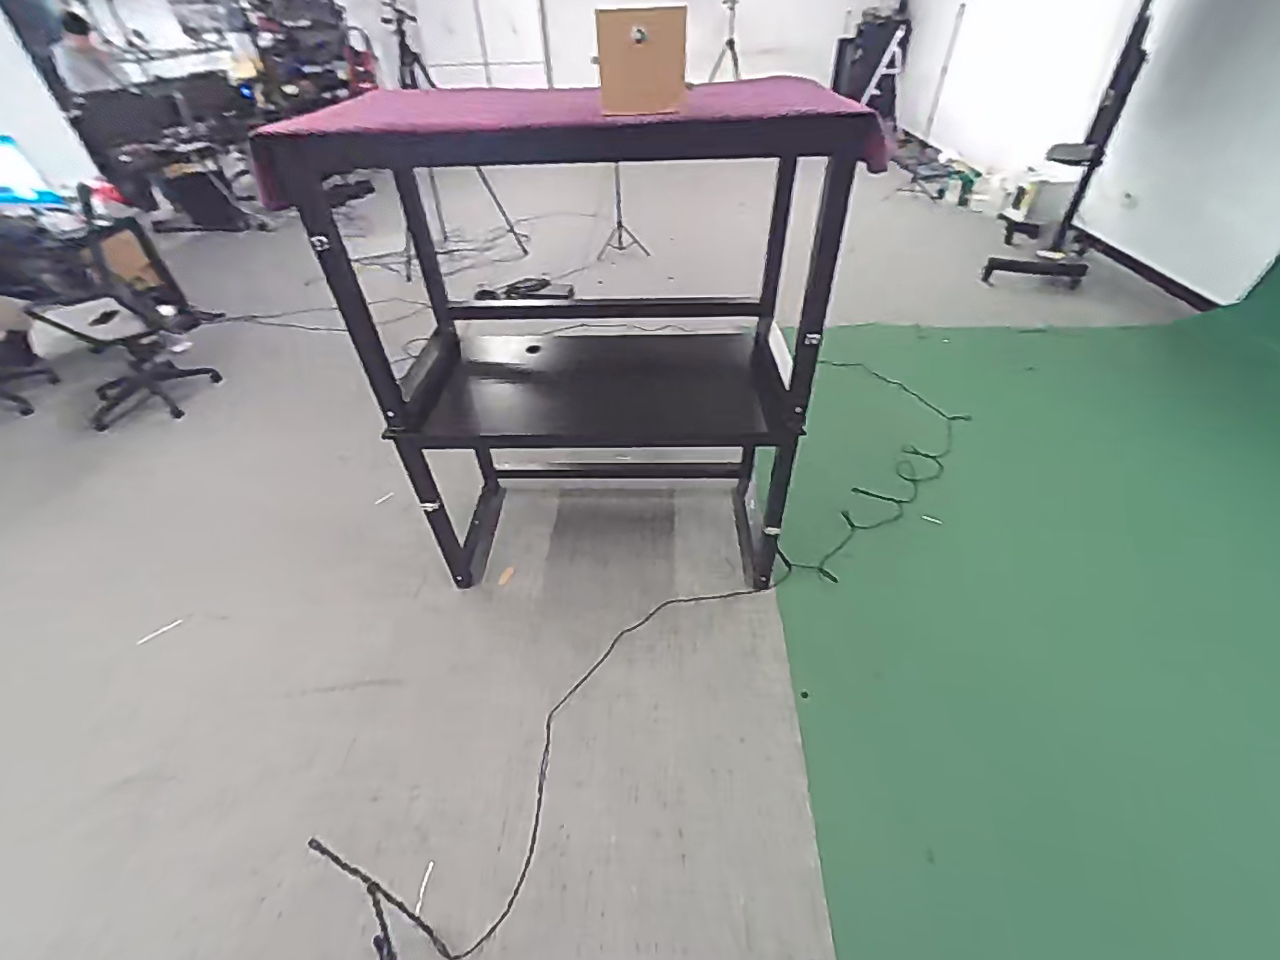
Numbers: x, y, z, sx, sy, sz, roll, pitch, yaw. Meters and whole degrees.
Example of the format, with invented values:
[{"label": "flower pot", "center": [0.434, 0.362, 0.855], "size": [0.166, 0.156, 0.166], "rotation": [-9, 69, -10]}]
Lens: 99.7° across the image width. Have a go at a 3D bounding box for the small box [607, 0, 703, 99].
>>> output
[{"label": "small box", "center": [0.033, -0.863, 1.067], "size": [0.179, 0.176, 0.168], "rotation": [2, 42, 3]}]
